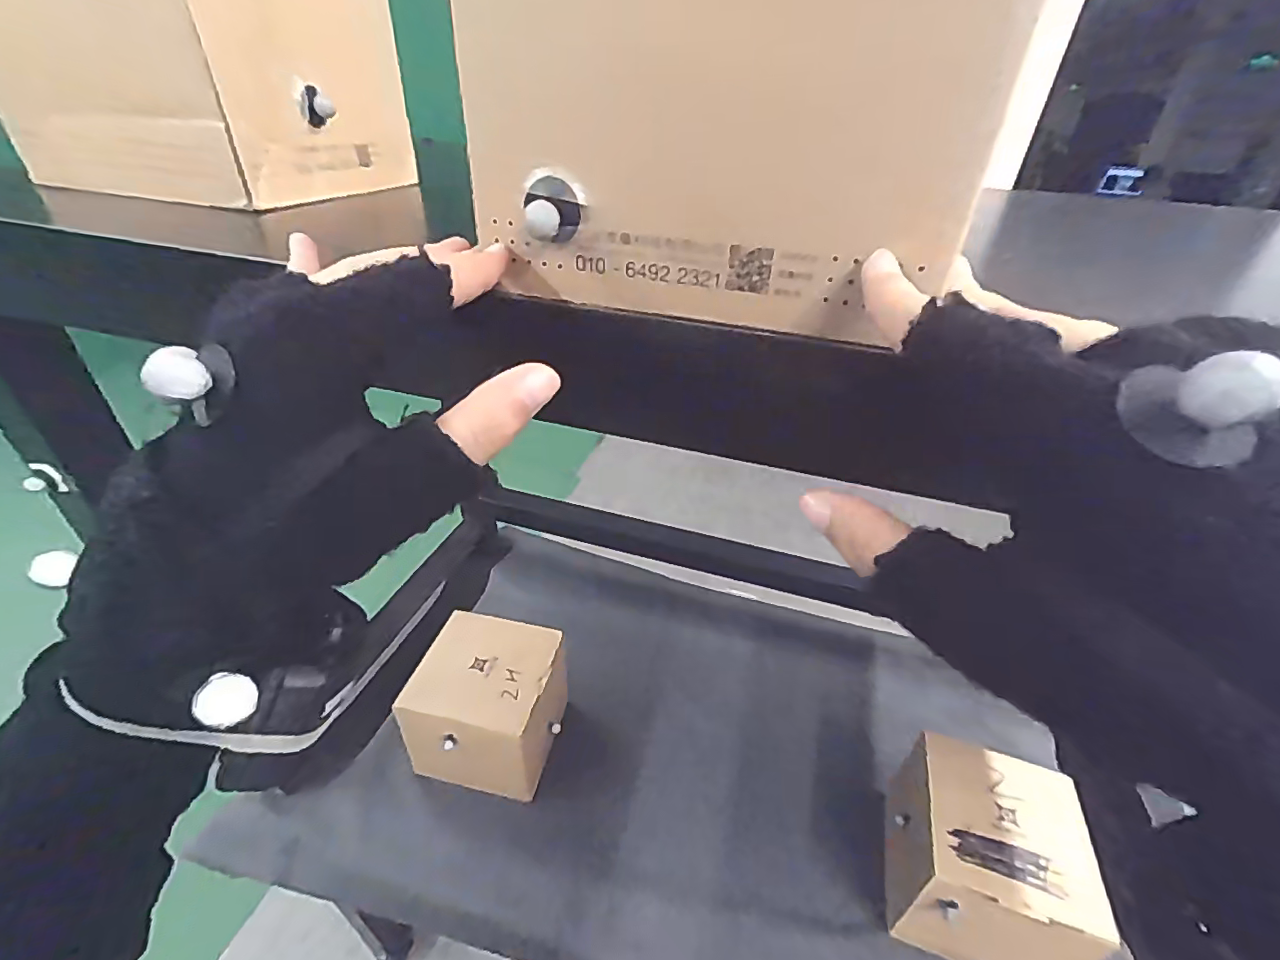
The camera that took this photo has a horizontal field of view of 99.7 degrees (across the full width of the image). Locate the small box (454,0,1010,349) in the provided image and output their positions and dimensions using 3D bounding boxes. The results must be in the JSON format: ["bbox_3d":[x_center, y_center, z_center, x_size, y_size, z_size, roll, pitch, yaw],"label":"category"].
[{"bbox_3d":[0.041,-0.167,0.223,0.168,0.176,0.179,13,35,13],"label":"small box"}]

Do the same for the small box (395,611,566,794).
[{"bbox_3d":[-0.215,0.320,0.781,0.179,0.176,0.168,10,36,9],"label":"small box"}]
